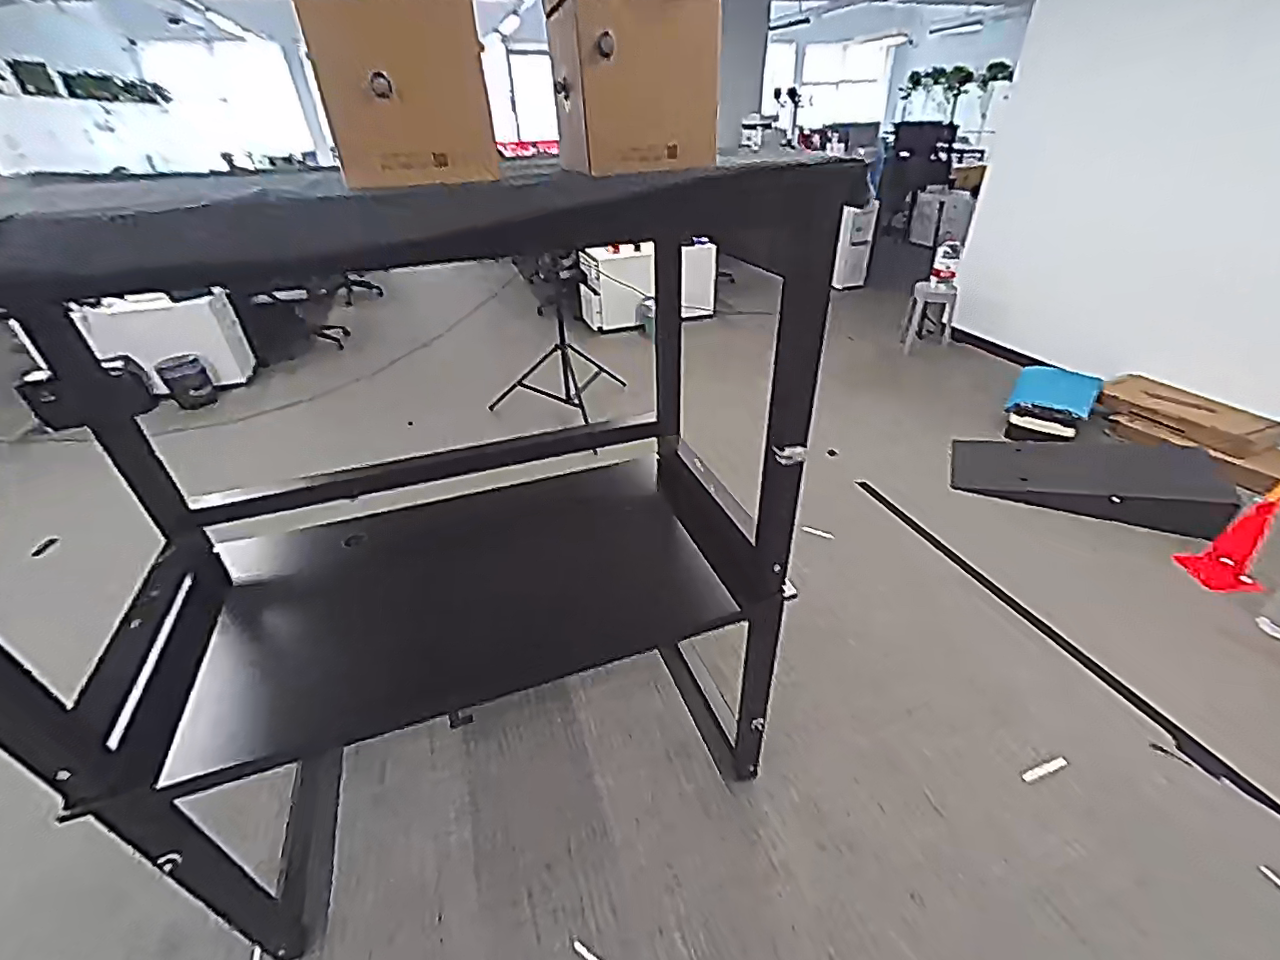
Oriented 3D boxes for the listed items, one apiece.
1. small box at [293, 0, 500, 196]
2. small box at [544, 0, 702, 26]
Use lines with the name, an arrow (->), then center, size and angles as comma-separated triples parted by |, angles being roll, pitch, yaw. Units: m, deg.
small box -> -0.263, -0.431, 0.627 | 0.168, 0.176, 0.179 | -11, 33, -12
small box -> -0.018, -0.612, 0.585 | 0.179, 0.176, 0.168 | -13, 33, -13
